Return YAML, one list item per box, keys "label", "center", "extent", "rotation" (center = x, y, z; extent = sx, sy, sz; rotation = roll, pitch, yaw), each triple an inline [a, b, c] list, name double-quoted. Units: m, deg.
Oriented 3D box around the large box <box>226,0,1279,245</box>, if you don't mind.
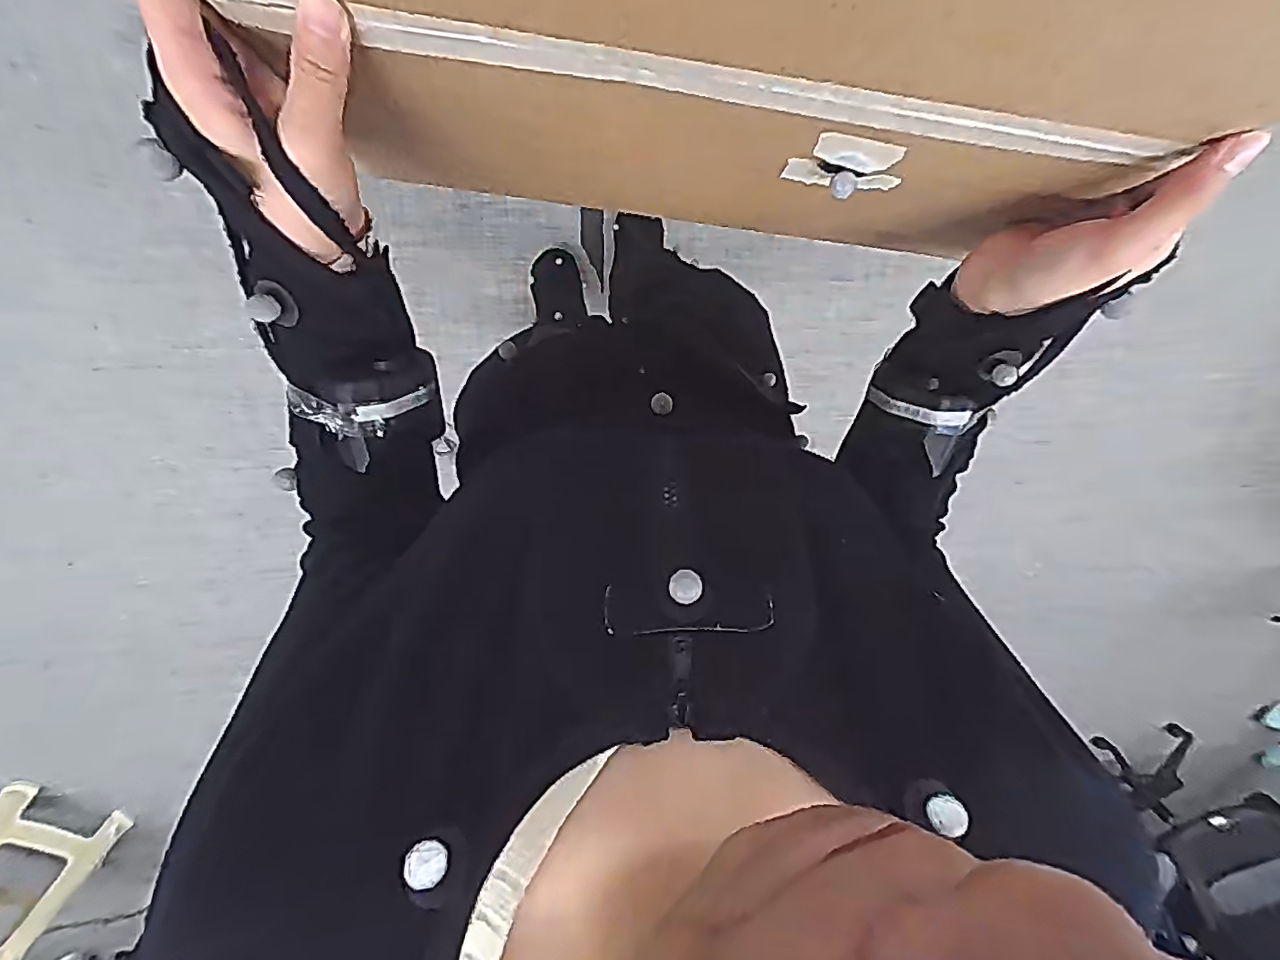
- label: "large box"
  center: [0.049, -0.317, 0.204]
  extent: [0.408, 0.320, 0.320]
  rotation: [5, 96, -5]
